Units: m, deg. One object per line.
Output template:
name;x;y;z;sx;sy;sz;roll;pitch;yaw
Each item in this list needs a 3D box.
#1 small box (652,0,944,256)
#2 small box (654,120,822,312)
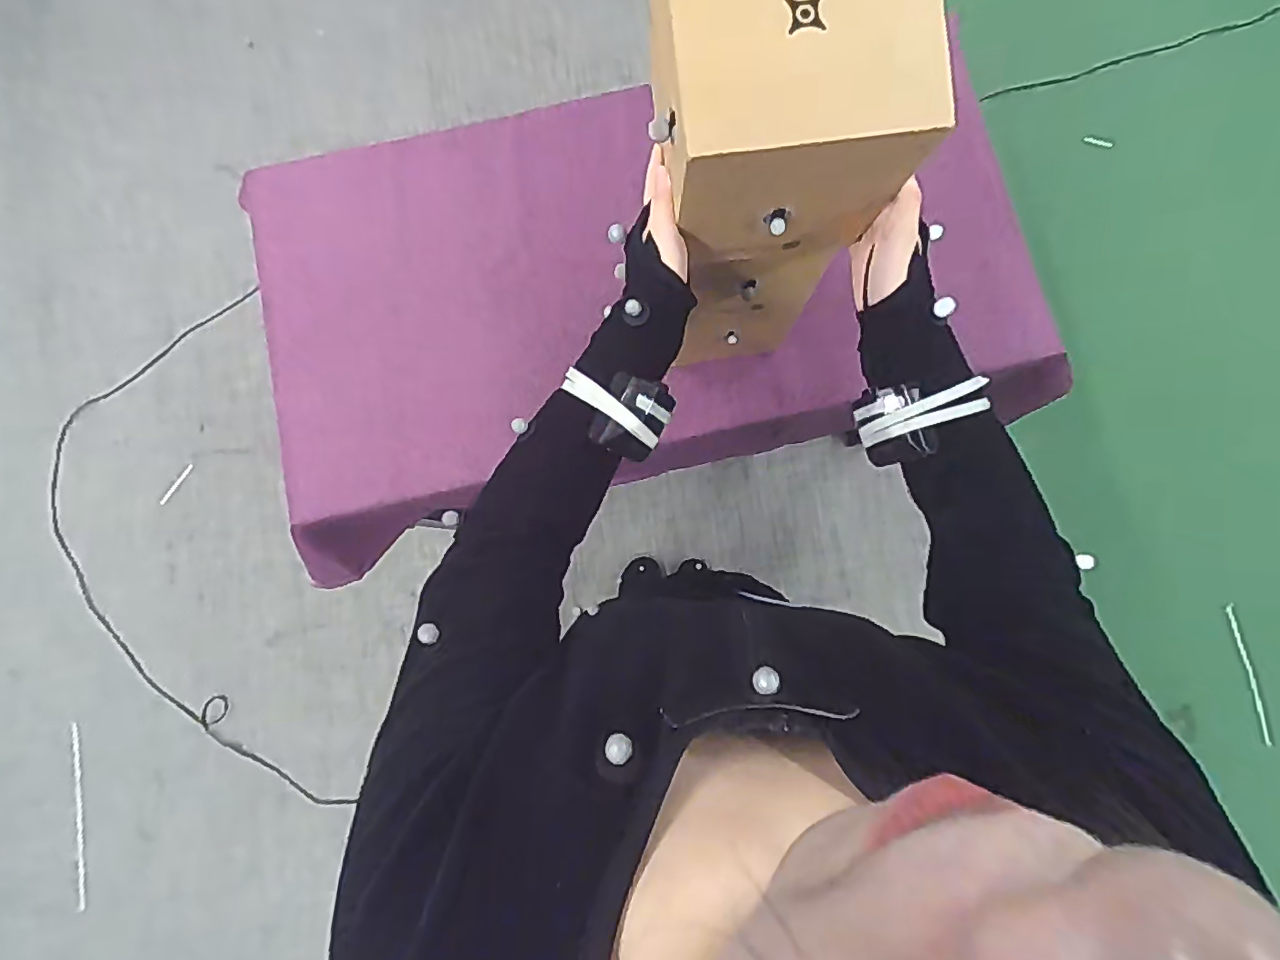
small box;0.098;-0.286;0.410;0.168;0.176;0.179;-6;90;0
small box;0.106;-0.303;0.604;0.168;0.176;0.179;-6;83;1
